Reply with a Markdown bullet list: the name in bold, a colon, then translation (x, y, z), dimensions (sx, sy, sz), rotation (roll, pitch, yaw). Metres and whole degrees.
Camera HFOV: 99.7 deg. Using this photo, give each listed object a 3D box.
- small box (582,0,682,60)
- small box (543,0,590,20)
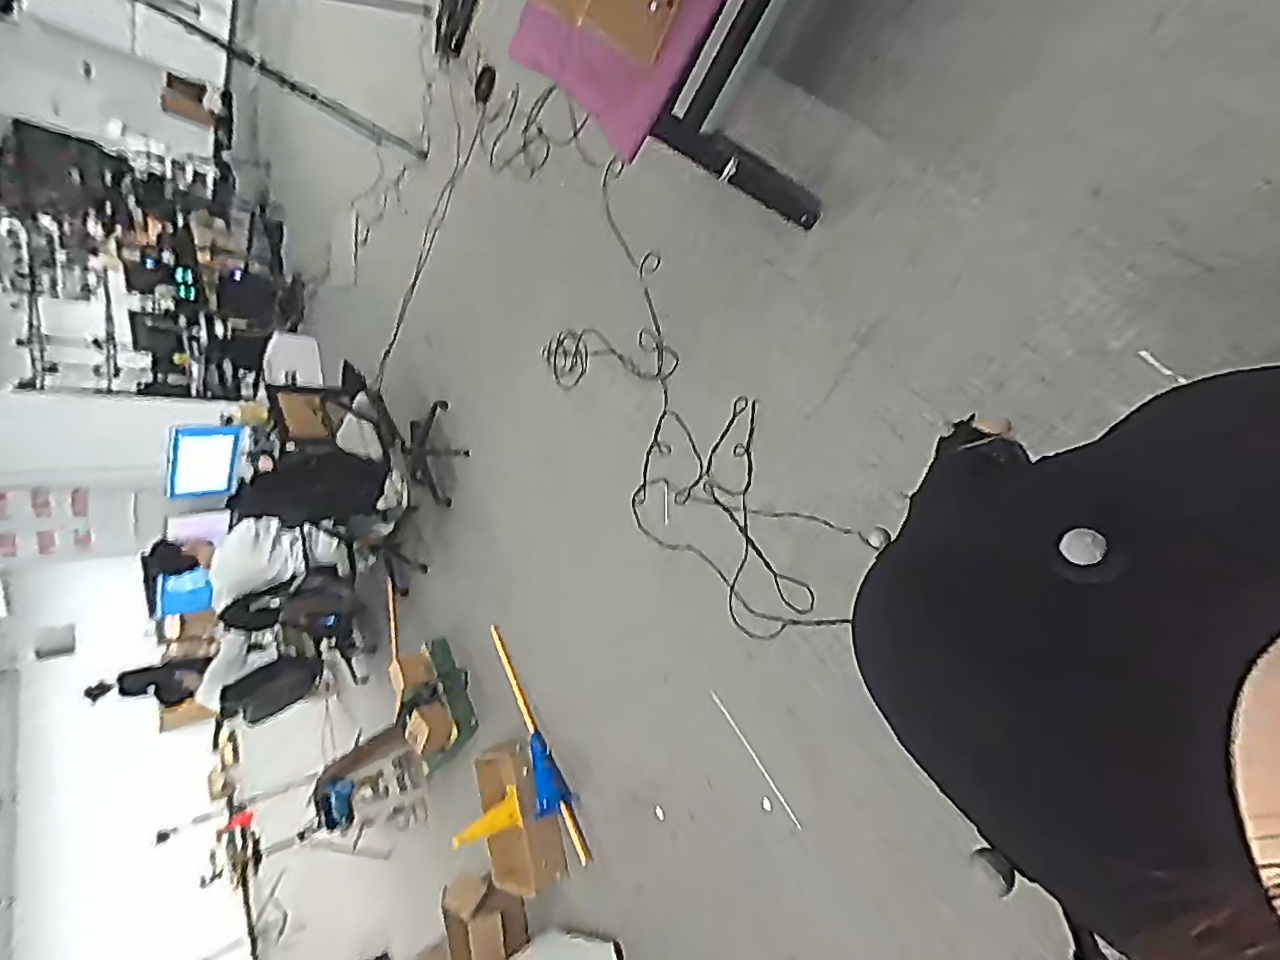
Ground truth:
- **small box**: translation (-0.036, -0.926, 0.998), dimensions (0.179, 0.176, 0.168), rotation (55, 127, 29)
- **small box**: translation (-0.161, -0.917, 0.894), dimensions (0.179, 0.176, 0.168), rotation (55, 126, 29)
